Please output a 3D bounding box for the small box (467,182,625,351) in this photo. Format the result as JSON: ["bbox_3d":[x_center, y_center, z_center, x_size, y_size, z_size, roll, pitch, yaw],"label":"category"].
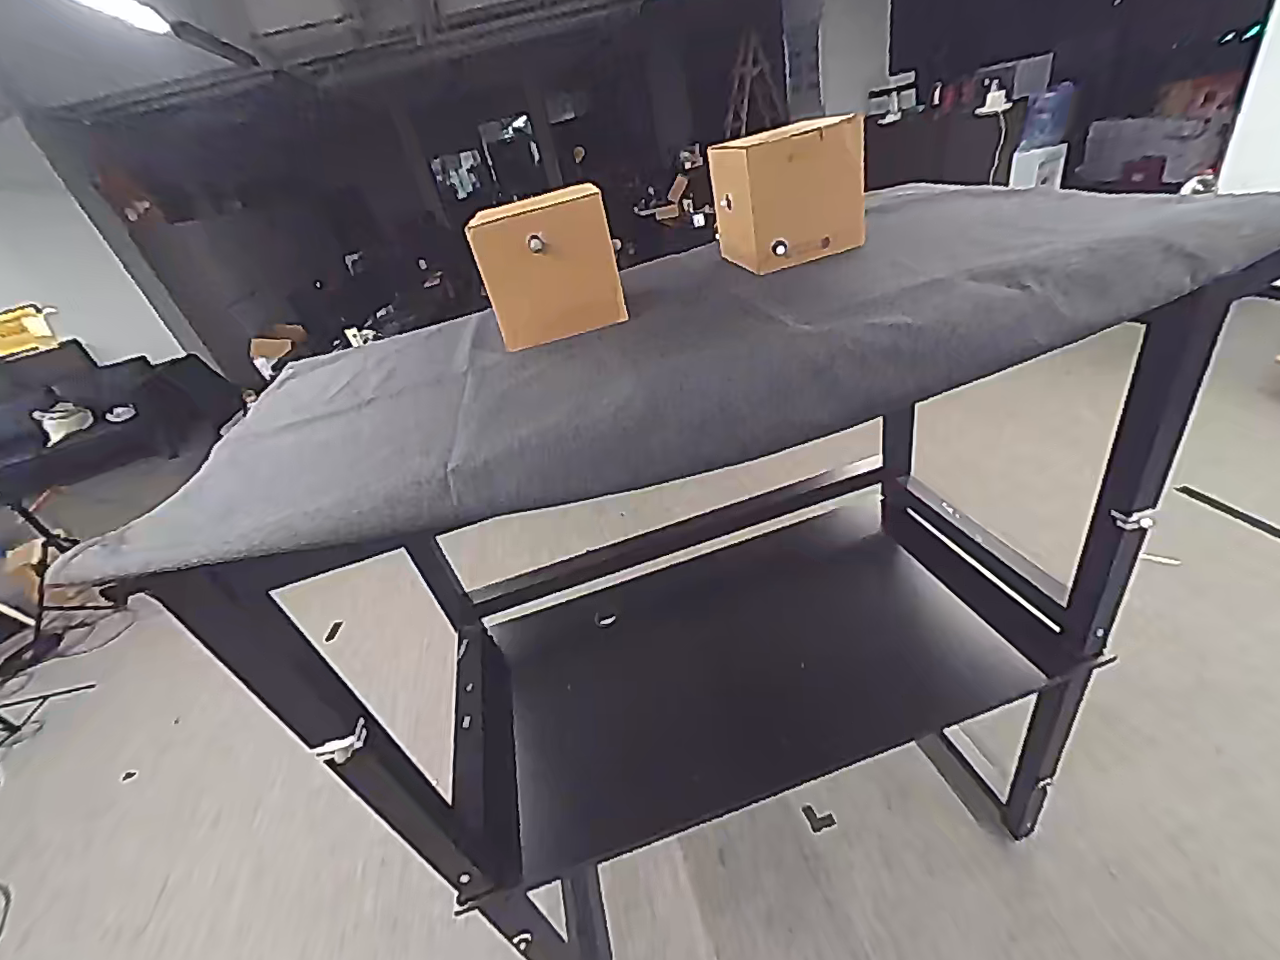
[{"bbox_3d":[-0.124,-0.306,0.772,0.179,0.176,0.168,-16,33,-1],"label":"small box"}]

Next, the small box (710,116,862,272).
[{"bbox_3d":[0.218,-0.428,0.818,0.168,0.176,0.179,-16,32,-3],"label":"small box"}]
